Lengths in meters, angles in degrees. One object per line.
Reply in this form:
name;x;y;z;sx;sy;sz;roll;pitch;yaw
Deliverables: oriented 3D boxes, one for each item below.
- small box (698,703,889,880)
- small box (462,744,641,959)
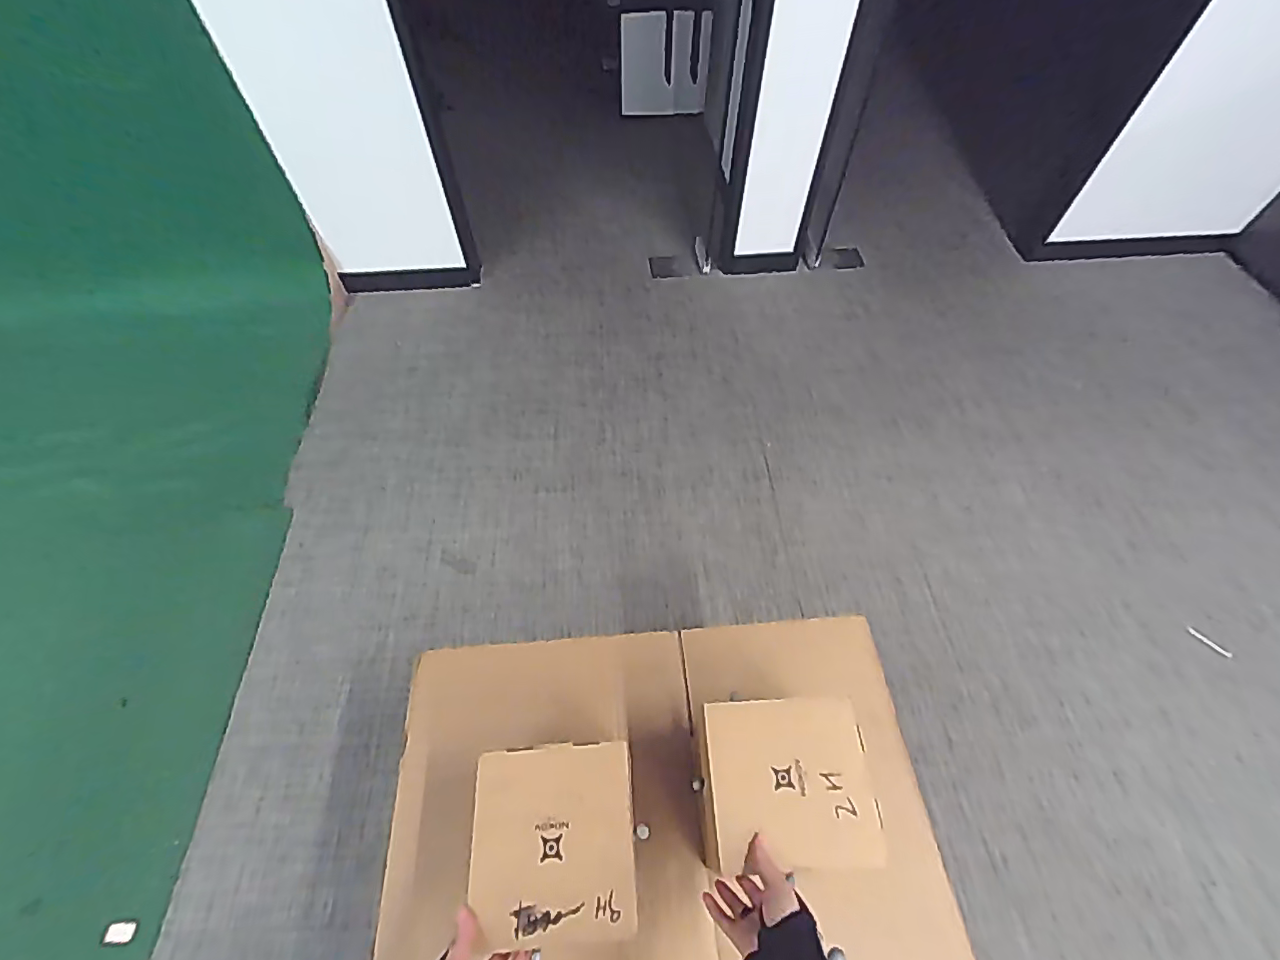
small box;0.162;0.374;0.645;0.179;0.176;0.168;-2;56;0
small box;-0.088;0.417;0.614;0.168;0.176;0.179;-5;54;-1
